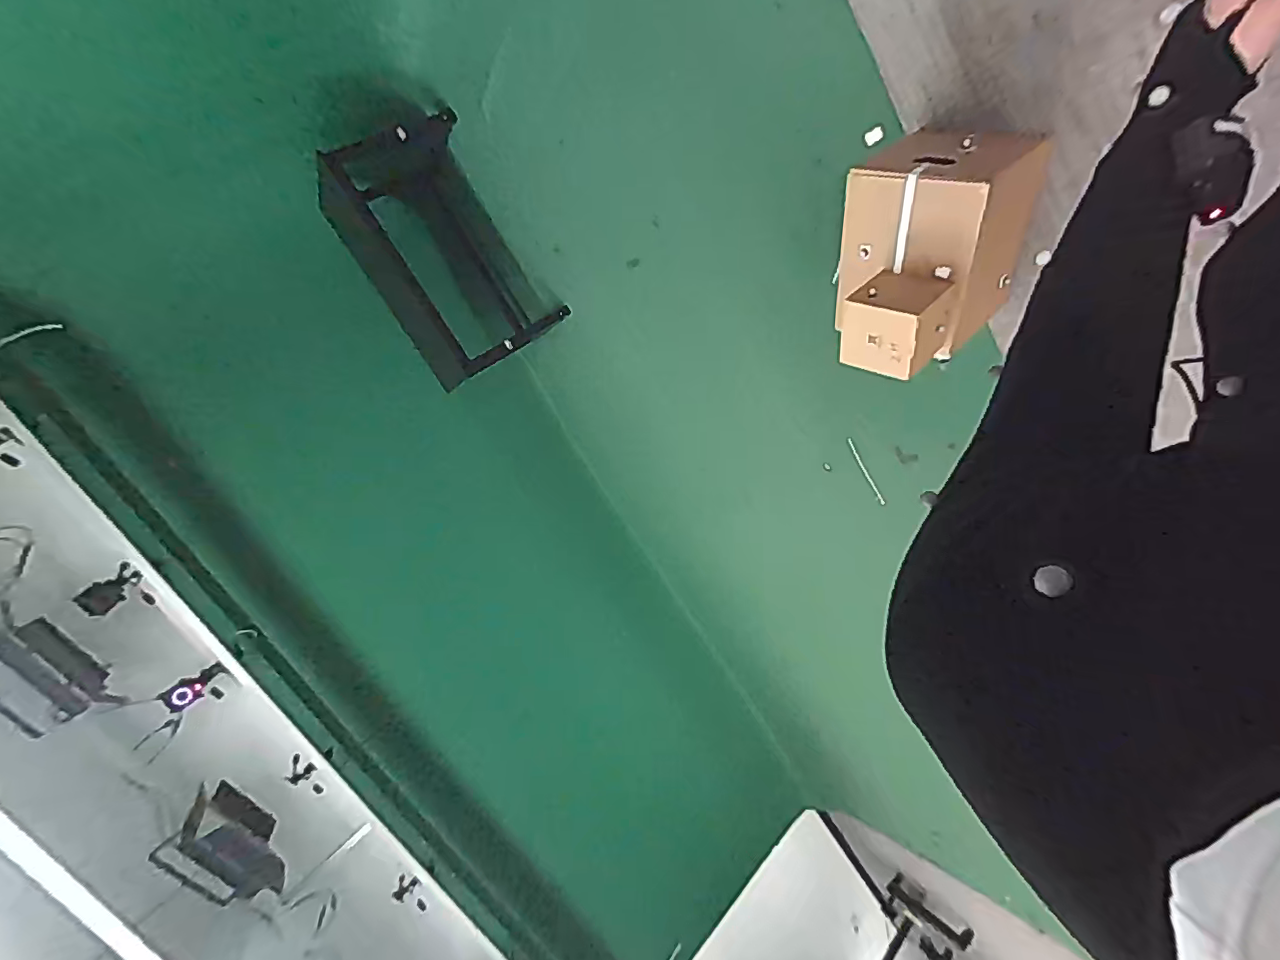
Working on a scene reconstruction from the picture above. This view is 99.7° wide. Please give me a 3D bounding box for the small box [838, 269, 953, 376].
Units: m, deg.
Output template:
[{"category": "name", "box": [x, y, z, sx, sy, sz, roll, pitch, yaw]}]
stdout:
[{"category": "small box", "box": [0.591, -0.374, 1.260, 0.179, 0.176, 0.168, 29, 148, 37]}]
